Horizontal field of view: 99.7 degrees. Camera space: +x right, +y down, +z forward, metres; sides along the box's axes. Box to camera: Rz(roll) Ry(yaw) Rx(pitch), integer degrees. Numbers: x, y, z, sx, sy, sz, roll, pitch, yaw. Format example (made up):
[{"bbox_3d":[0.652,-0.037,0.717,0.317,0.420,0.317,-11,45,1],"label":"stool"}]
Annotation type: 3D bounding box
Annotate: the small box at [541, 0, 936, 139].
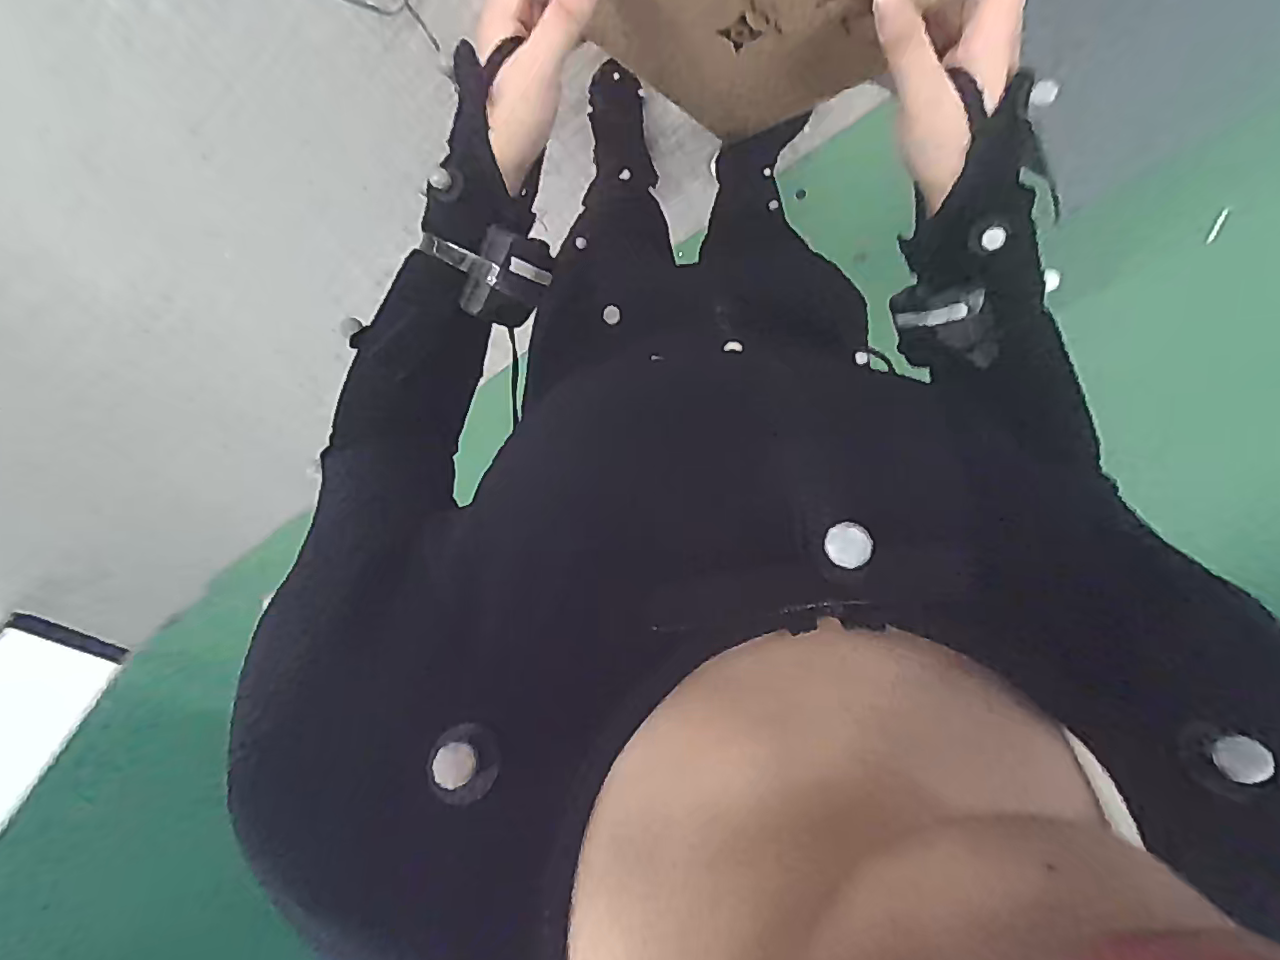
[{"bbox_3d":[0.064,-0.350,0.313,0.168,0.176,0.179,4,-178,-43],"label":"small box"}]
